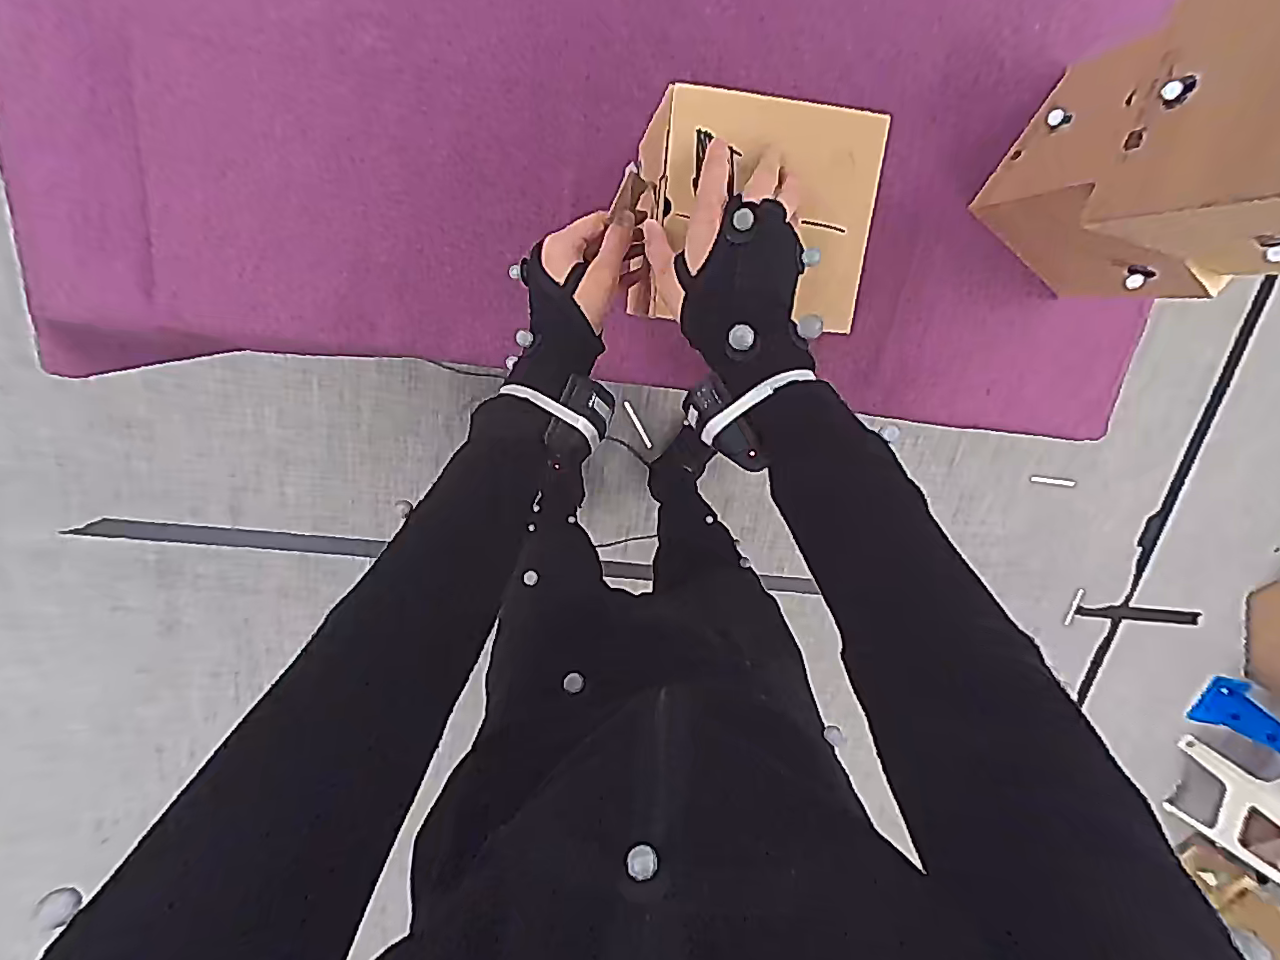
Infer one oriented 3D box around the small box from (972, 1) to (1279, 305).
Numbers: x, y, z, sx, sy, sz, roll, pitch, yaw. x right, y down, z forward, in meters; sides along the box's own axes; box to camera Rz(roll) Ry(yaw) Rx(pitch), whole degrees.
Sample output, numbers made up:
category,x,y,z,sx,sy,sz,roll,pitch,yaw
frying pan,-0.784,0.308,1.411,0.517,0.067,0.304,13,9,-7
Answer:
category,x,y,z,sx,sy,sz,roll,pitch,yaw
small box,0.491,-0.297,0.538,0.179,0.176,0.168,31,101,-16
